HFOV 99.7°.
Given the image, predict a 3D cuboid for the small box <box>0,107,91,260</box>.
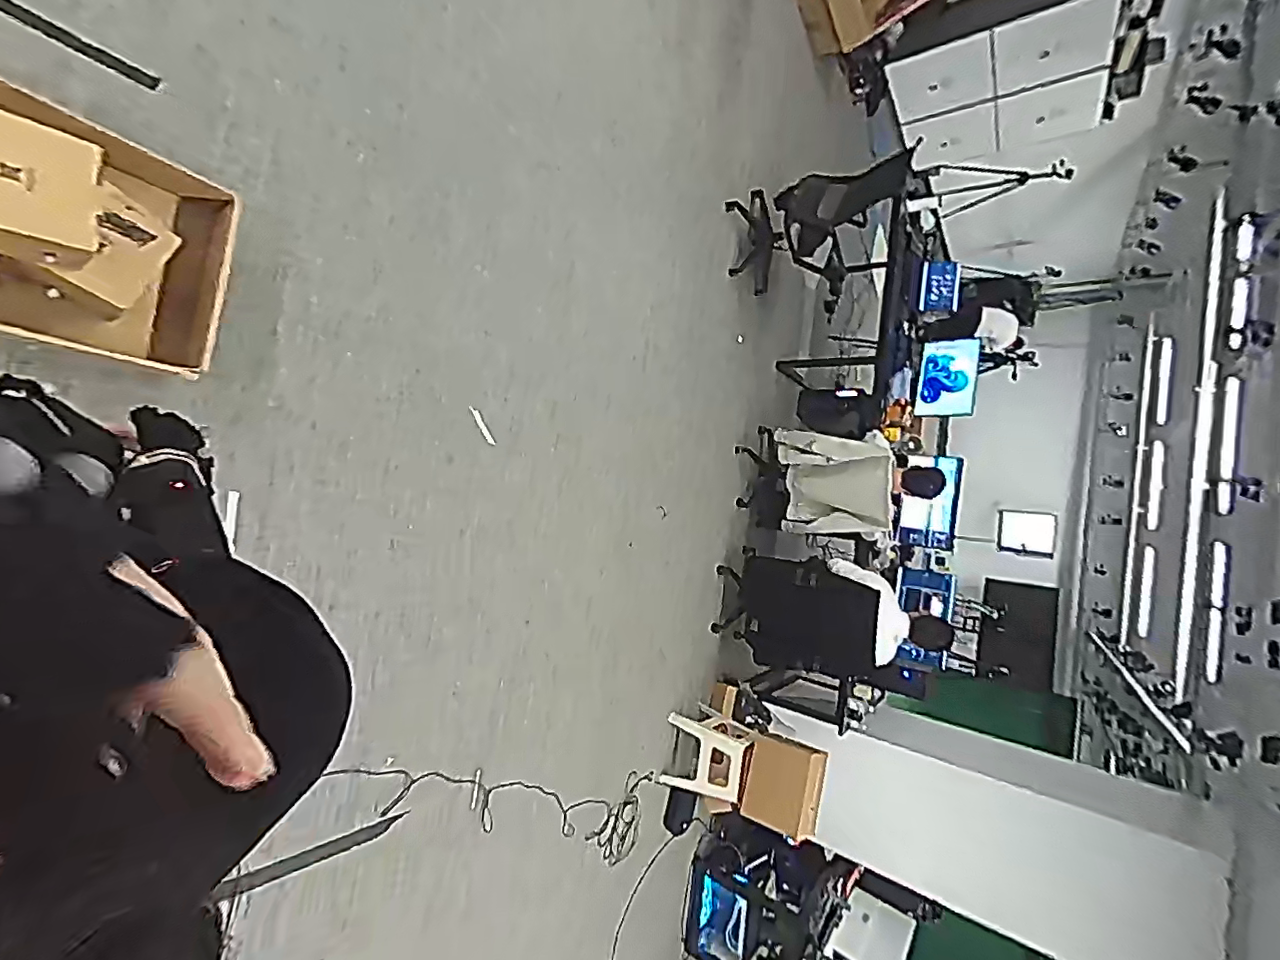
[{"bbox_3d":[-0.950,-0.438,0.793,0.179,0.176,0.168,1,92,-54],"label":"small box"}]
